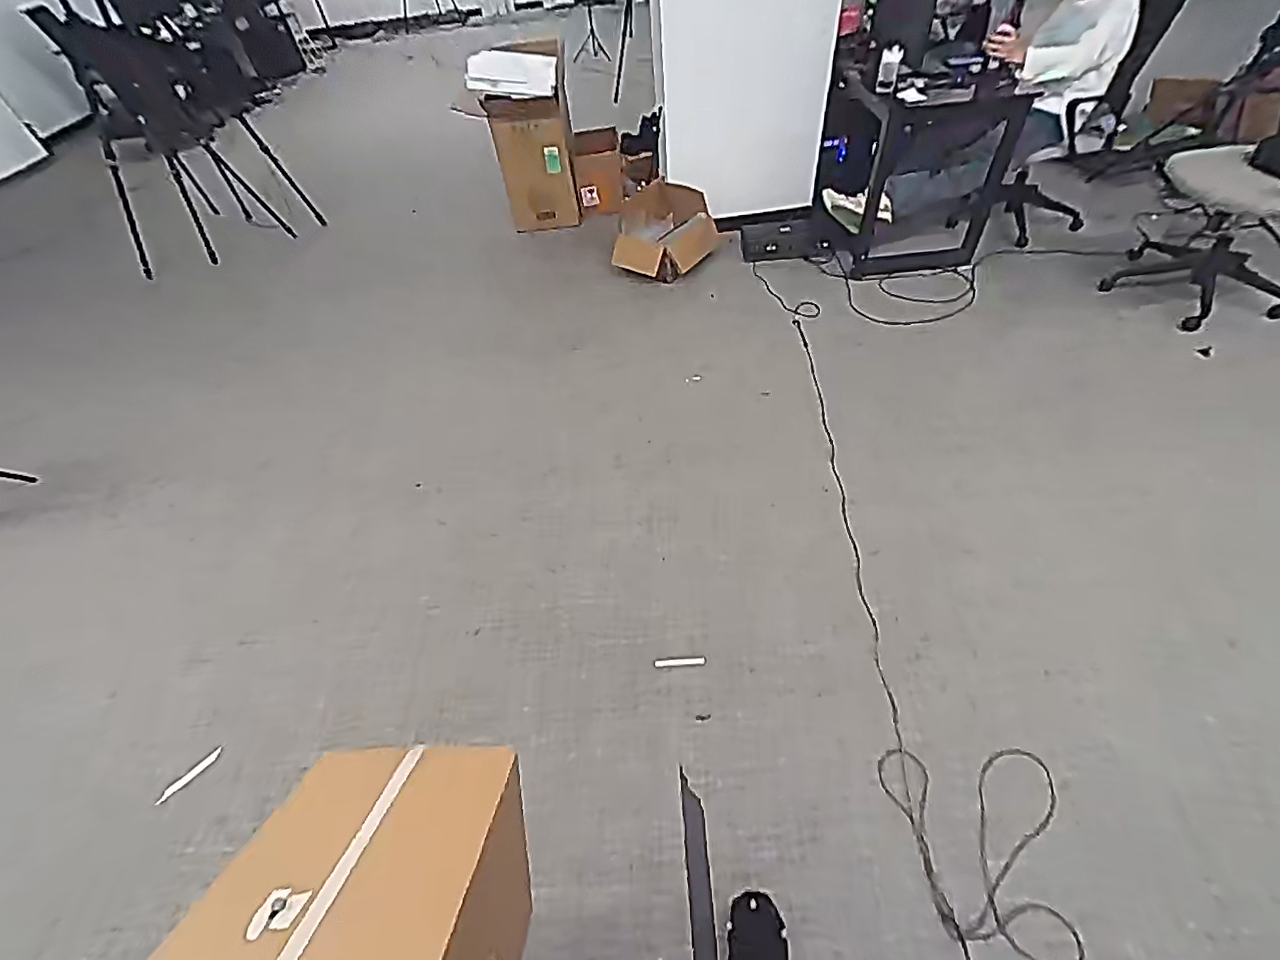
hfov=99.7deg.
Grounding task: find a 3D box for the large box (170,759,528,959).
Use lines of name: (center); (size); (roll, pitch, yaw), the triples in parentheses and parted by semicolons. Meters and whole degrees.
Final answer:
large box: (-0.349, 0.640, 0.711); (0.320, 0.320, 0.408); (-3, 11, 3)
